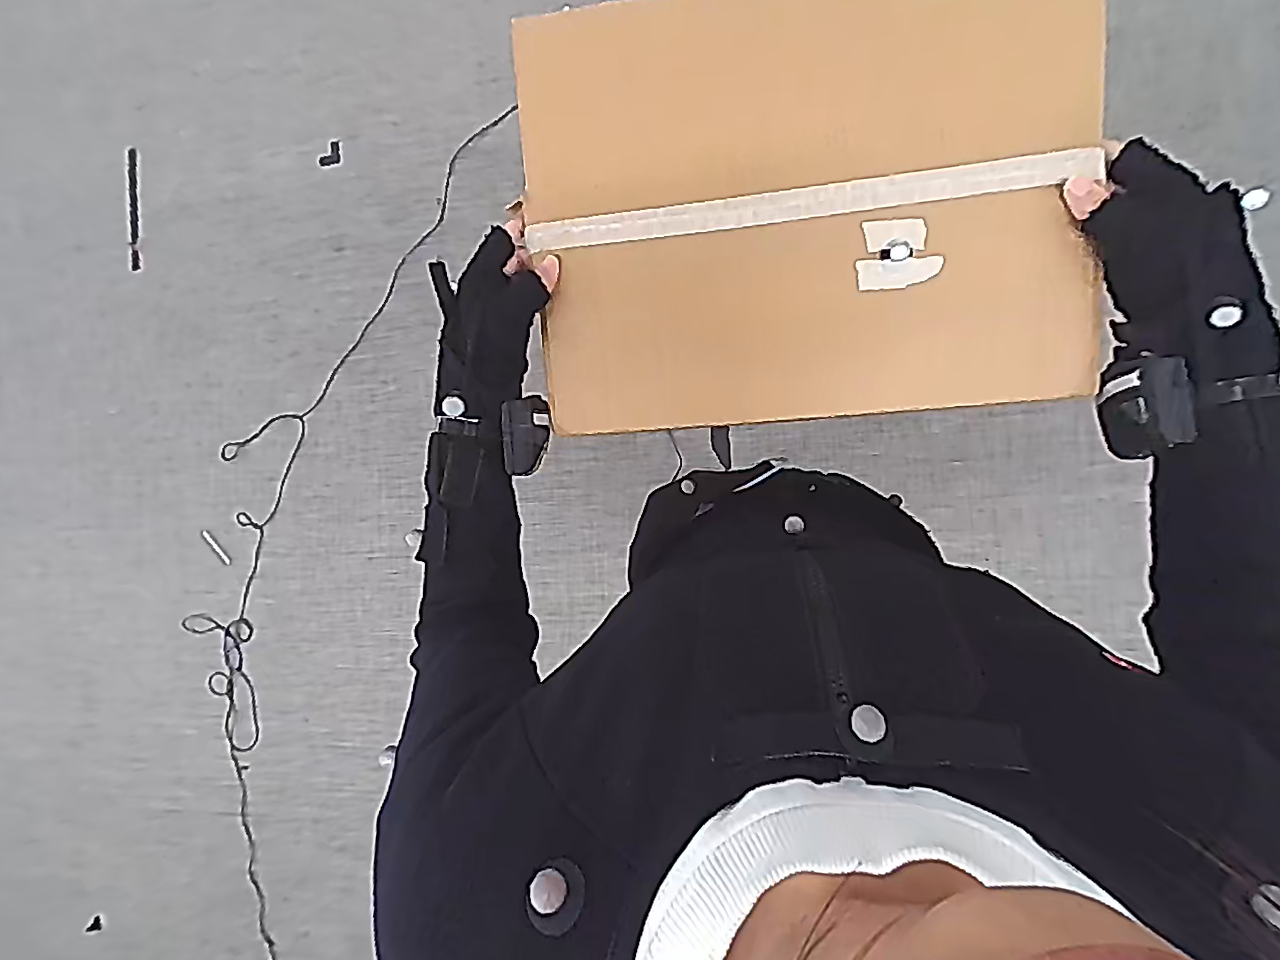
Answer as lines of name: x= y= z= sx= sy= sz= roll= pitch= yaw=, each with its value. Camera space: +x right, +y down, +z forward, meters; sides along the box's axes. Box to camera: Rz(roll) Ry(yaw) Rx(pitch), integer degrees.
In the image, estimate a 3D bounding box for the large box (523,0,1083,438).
large box: x=0.134 y=-0.221 z=0.557 sx=0.408 sy=0.320 sz=0.320 roll=-4 pitch=97 yaw=7
